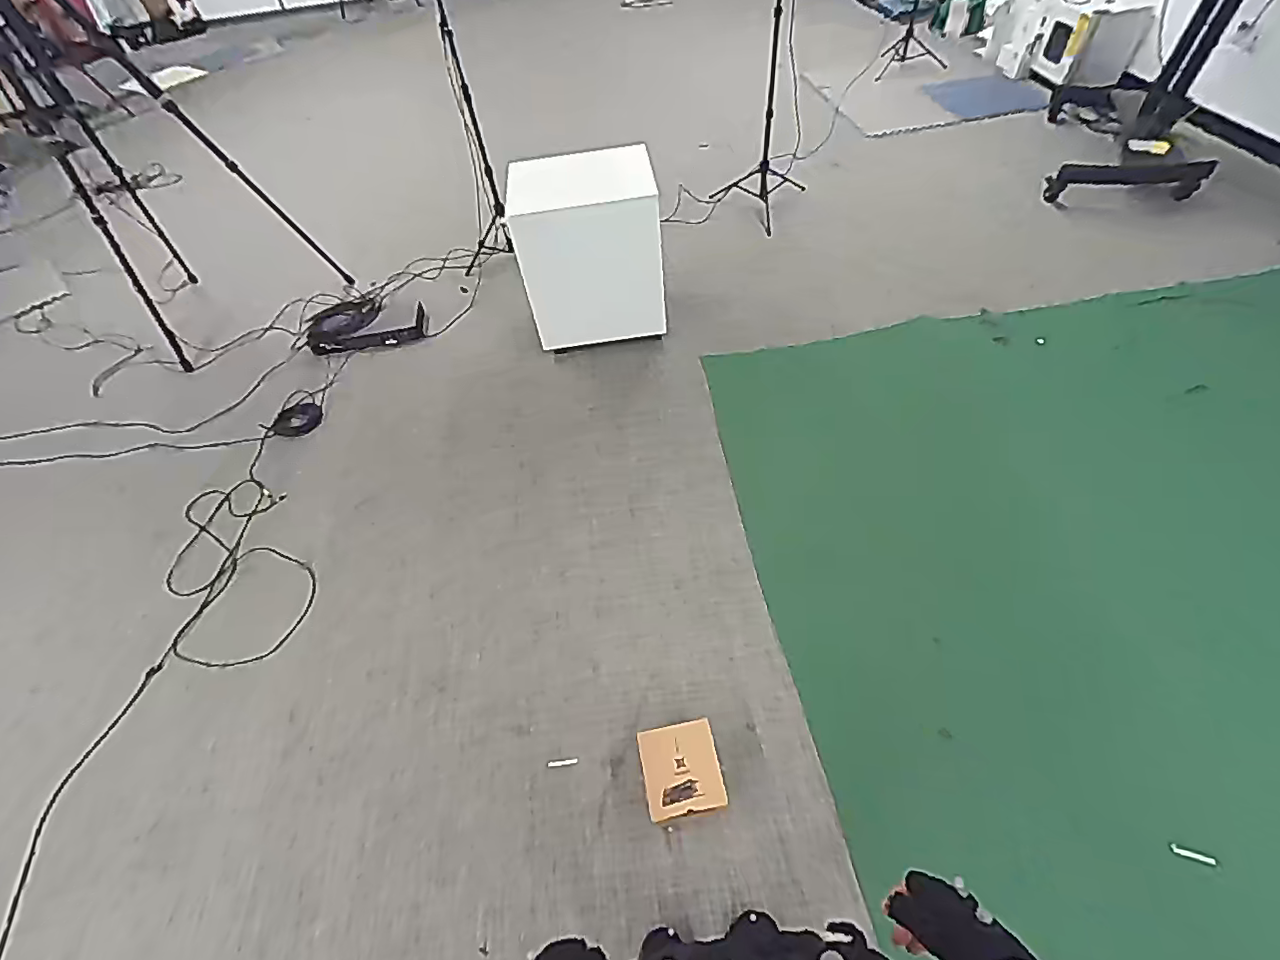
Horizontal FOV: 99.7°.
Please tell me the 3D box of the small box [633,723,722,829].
[{"bbox_3d":[0.085,0.672,1.220,0.168,0.176,0.179,-11,52,-3],"label":"small box"}]
